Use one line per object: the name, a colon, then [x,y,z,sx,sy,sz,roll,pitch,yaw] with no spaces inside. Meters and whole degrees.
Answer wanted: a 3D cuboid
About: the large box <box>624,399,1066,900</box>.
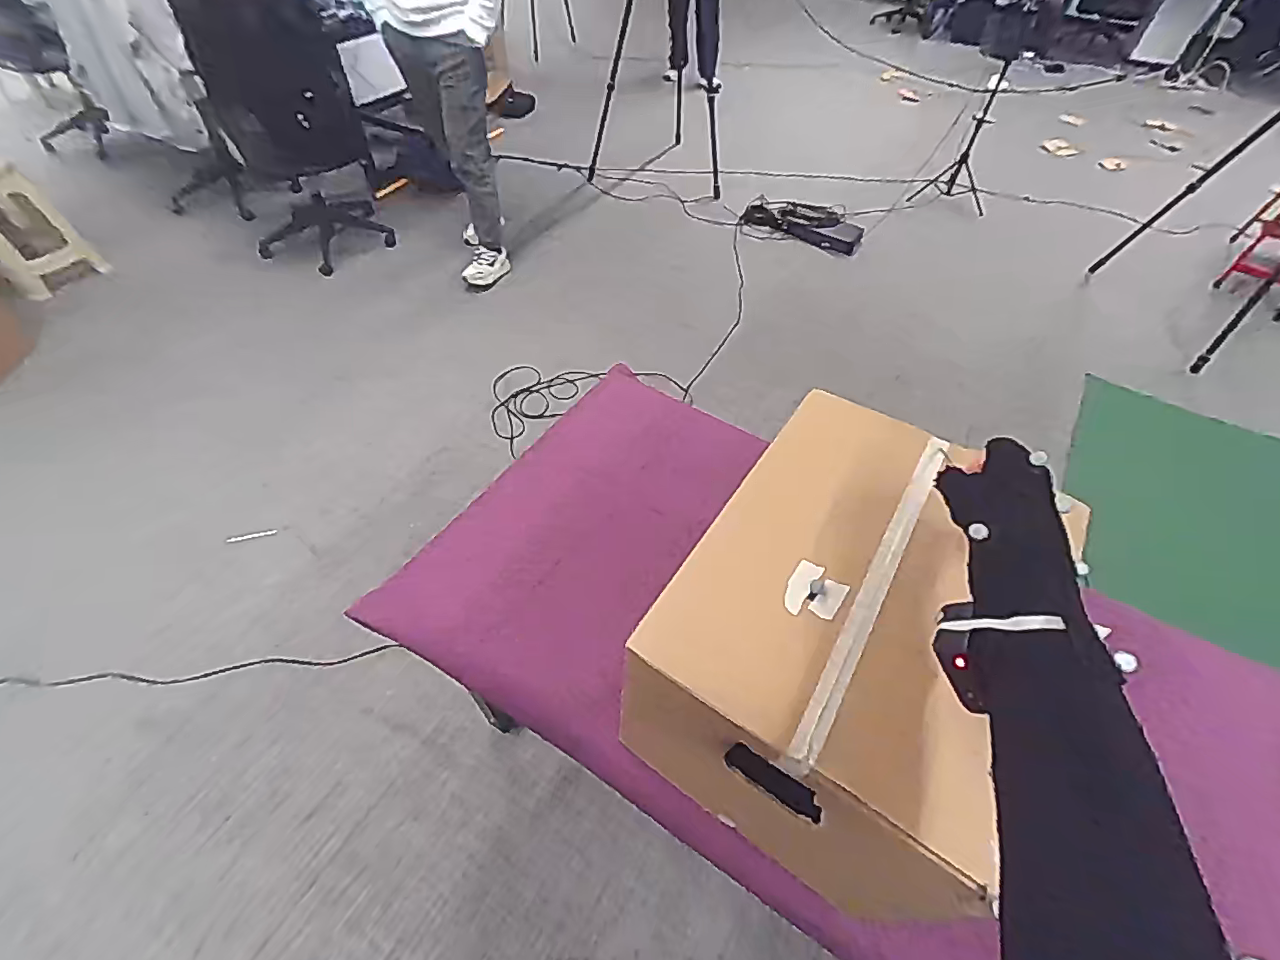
large box: [0.218,0.184,0.642,0.320,0.320,0.408,30,56,19]
